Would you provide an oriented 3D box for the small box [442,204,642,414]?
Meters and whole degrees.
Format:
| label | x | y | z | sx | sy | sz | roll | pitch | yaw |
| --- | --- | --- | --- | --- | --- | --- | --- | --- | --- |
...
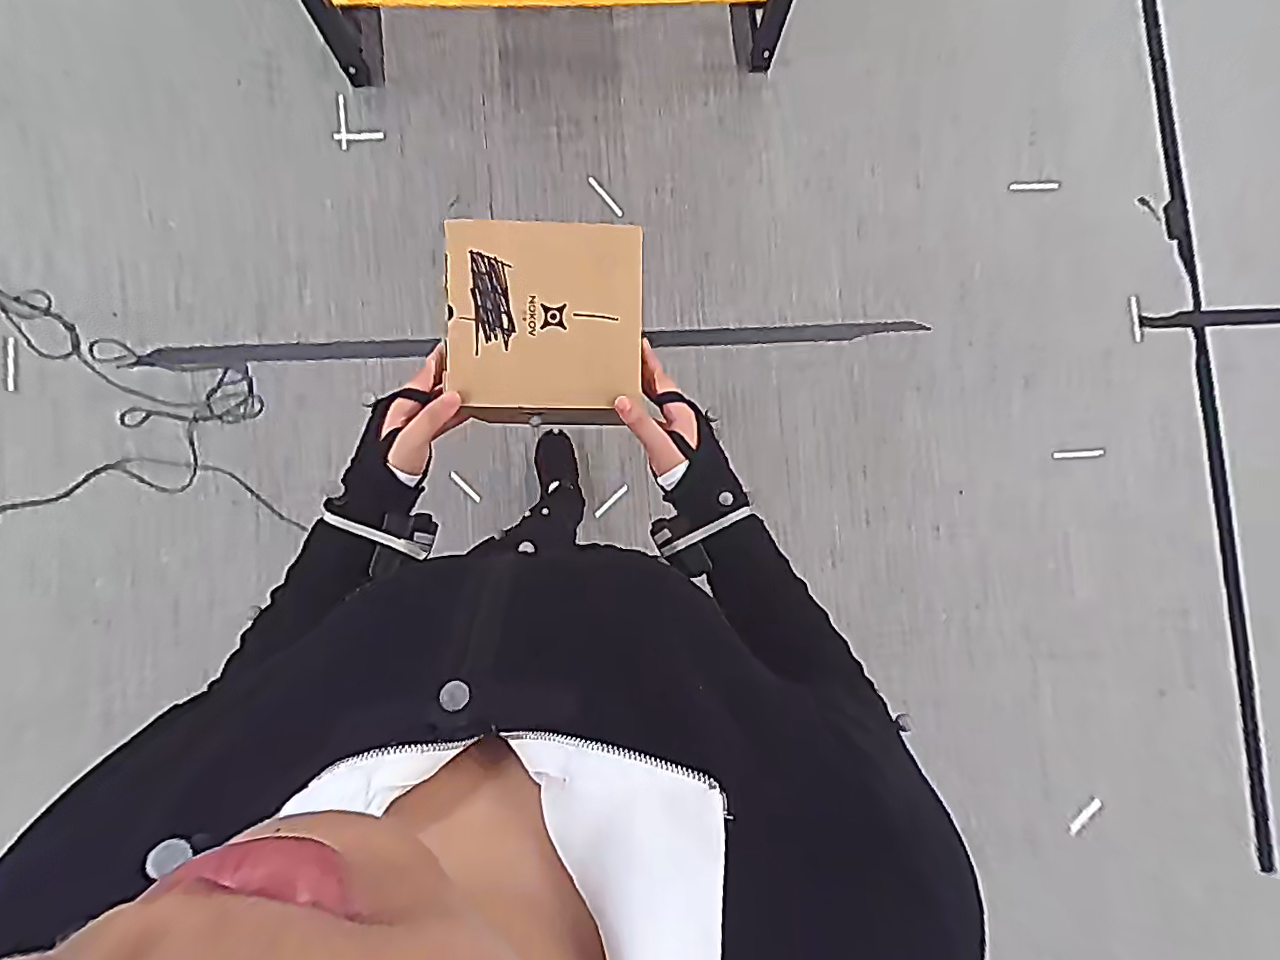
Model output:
| label | x | y | z | sx | sy | sz | roll | pitch | yaw |
| --- | --- | --- | --- | --- | --- | --- | --- | --- | --- |
| small box | -0.091 | -0.160 | 0.560 | 0.179 | 0.176 | 0.168 | 1 | 90 | -4 |
